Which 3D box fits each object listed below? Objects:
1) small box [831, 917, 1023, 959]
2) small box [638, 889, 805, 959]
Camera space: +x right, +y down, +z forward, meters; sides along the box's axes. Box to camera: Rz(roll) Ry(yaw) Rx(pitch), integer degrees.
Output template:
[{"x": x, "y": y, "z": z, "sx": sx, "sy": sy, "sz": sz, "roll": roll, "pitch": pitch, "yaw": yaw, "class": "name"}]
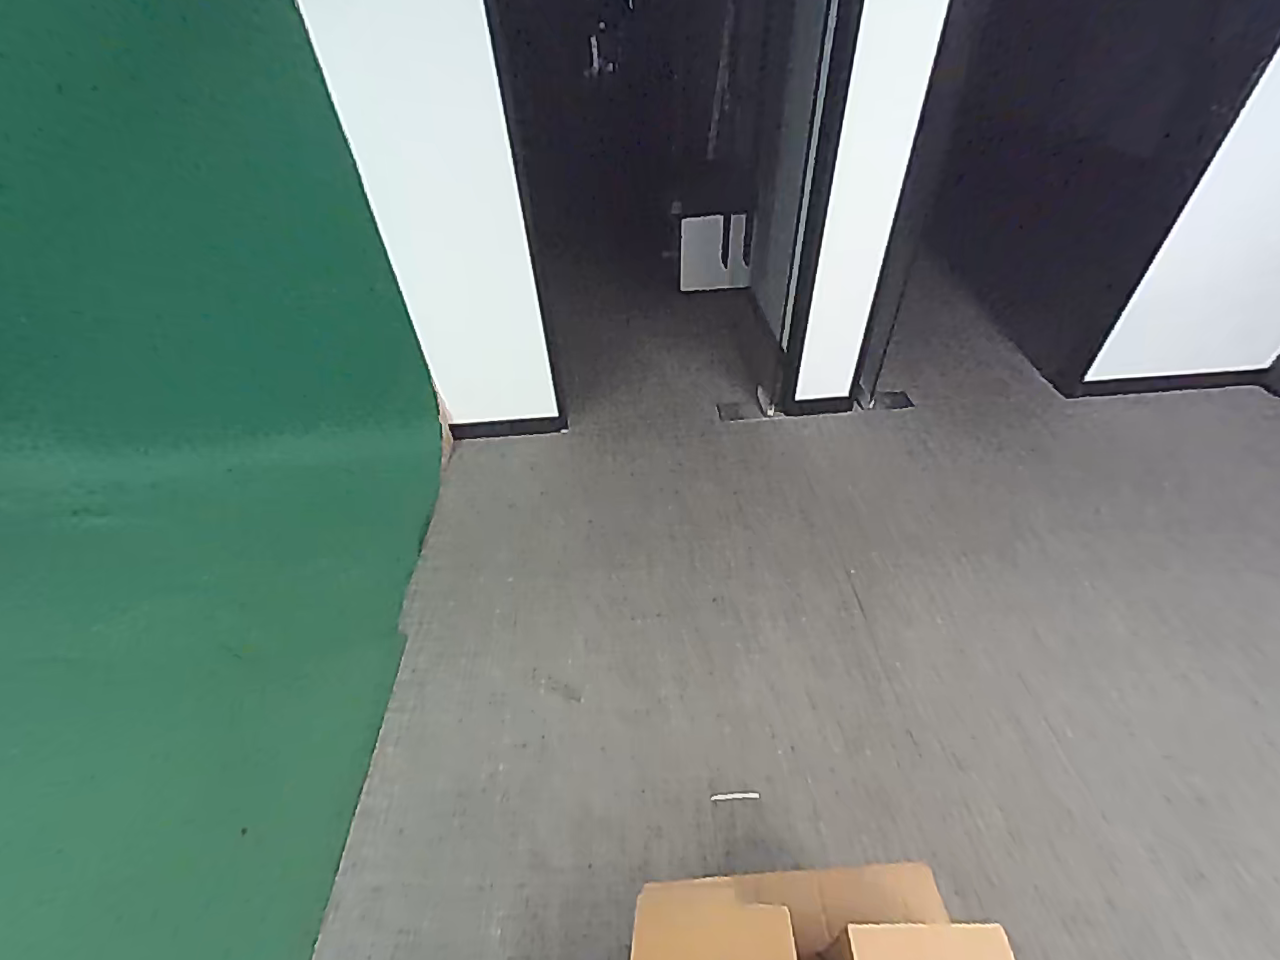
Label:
[{"x": 0.314, "y": 0.586, "z": 0.569, "sx": 0.168, "sy": 0.176, "sz": 0.179, "roll": -3, "pitch": 41, "yaw": 3, "class": "small box"}, {"x": 0.077, "y": 0.550, "z": 0.522, "sx": 0.168, "sy": 0.176, "sz": 0.179, "roll": 0, "pitch": 9, "yaw": 6, "class": "small box"}]
